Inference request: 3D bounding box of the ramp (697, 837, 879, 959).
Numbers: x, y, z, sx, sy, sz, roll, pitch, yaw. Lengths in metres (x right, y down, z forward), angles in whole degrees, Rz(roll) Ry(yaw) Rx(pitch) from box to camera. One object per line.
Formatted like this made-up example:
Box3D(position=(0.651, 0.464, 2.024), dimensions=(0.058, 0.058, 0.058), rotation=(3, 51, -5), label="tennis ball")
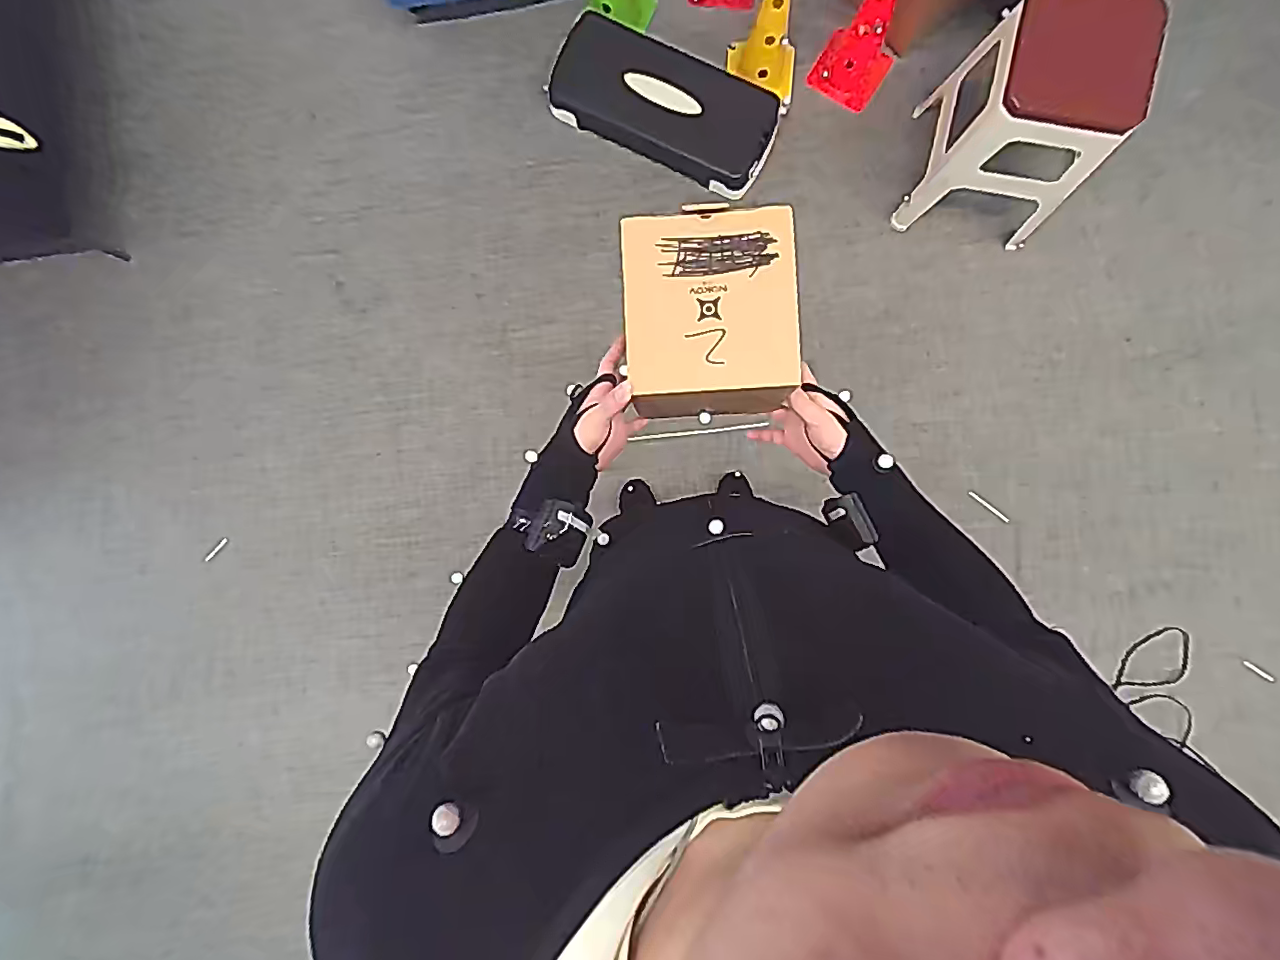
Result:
Box3D(position=(0.454, 1.566, 1.513), dimensions=(0.509, 0.206, 0.991), rotation=(-8, 88, 5), label="ramp")
